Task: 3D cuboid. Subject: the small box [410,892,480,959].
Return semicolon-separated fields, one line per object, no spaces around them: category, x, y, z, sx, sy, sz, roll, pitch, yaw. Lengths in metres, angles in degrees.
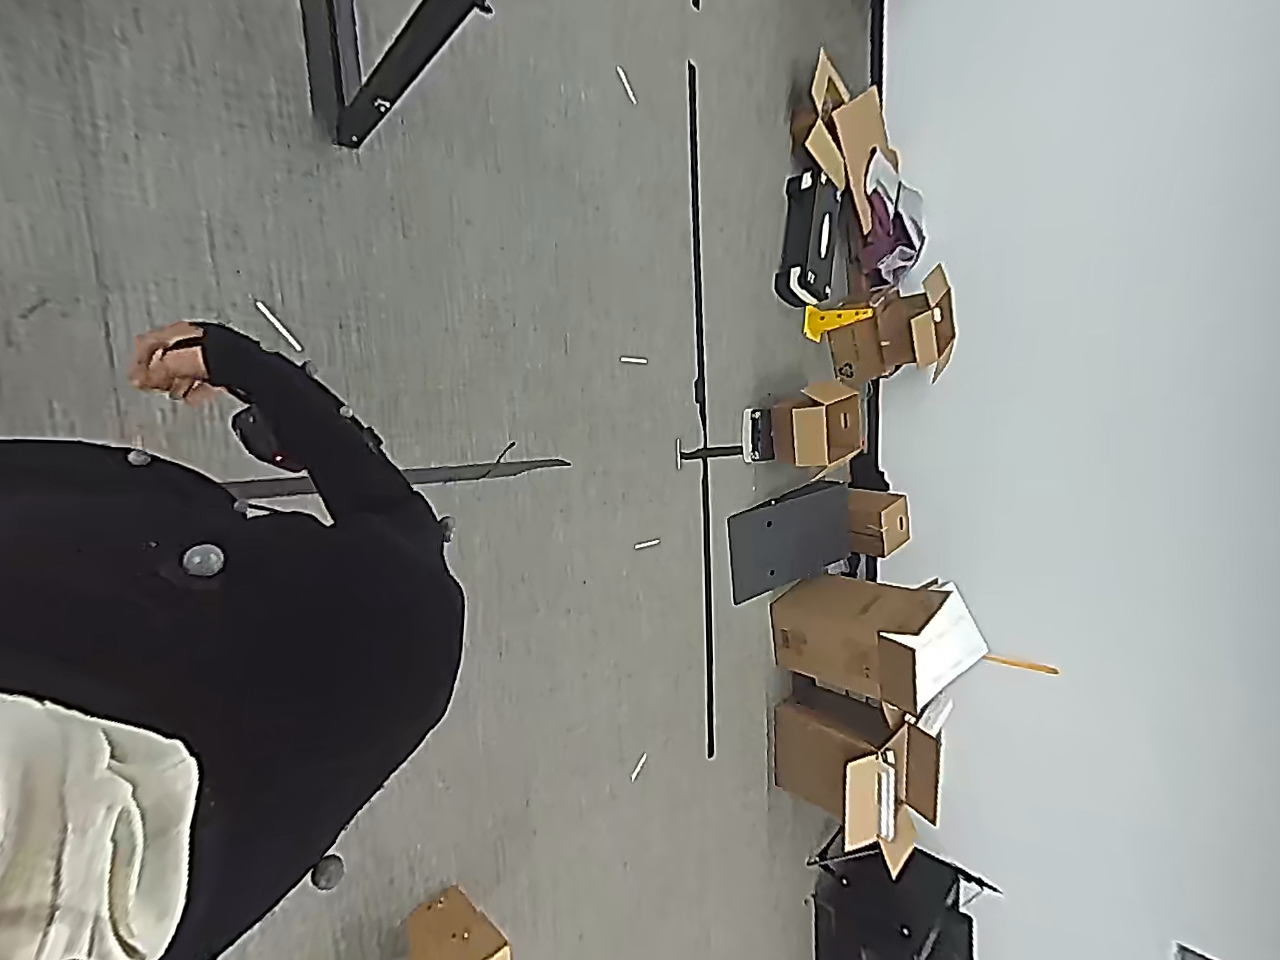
small box;-0.613;1.470;1.708;0.168;0.176;0.179;-6;97;-46

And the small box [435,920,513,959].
small box;-0.490;1.472;1.599;0.168;0.176;0.179;-6;96;-46
